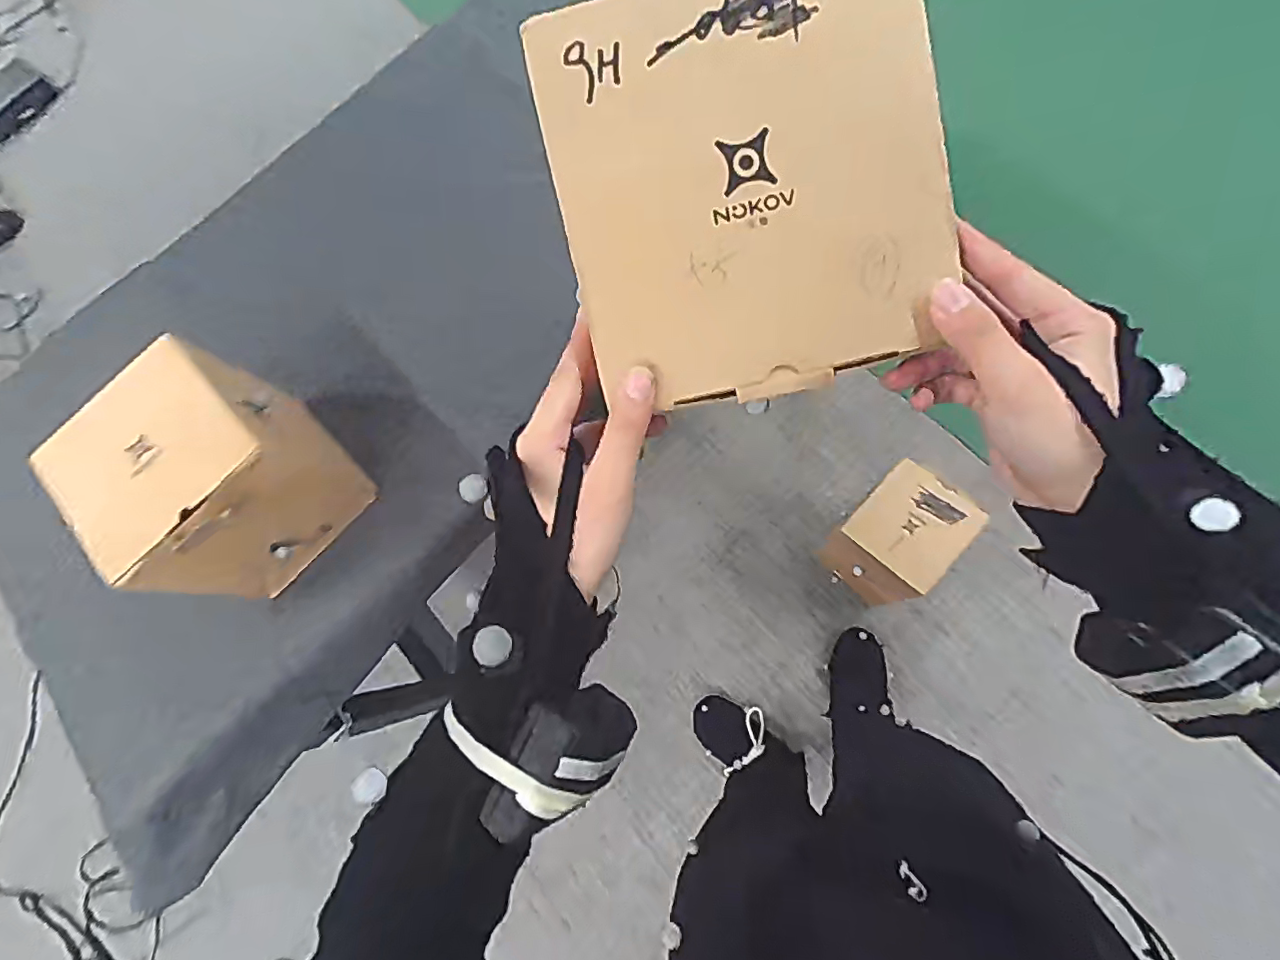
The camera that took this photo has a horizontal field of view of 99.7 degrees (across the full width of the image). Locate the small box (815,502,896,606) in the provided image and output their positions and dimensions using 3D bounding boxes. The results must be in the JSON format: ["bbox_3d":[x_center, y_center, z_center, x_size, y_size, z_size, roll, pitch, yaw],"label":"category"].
[{"bbox_3d":[0.485,0.141,1.124,0.168,0.176,0.179,41,85,18],"label":"small box"}]

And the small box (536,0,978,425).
[{"bbox_3d":[0.057,-0.138,0.310,0.168,0.176,0.179,-12,98,5],"label":"small box"}]

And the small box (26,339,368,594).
[{"bbox_3d":[-0.426,0.000,0.547,0.179,0.176,0.168,42,84,16],"label":"small box"}]

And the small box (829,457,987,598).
[{"bbox_3d":[0.463,0.093,0.969,0.168,0.176,0.179,41,85,17],"label":"small box"}]
